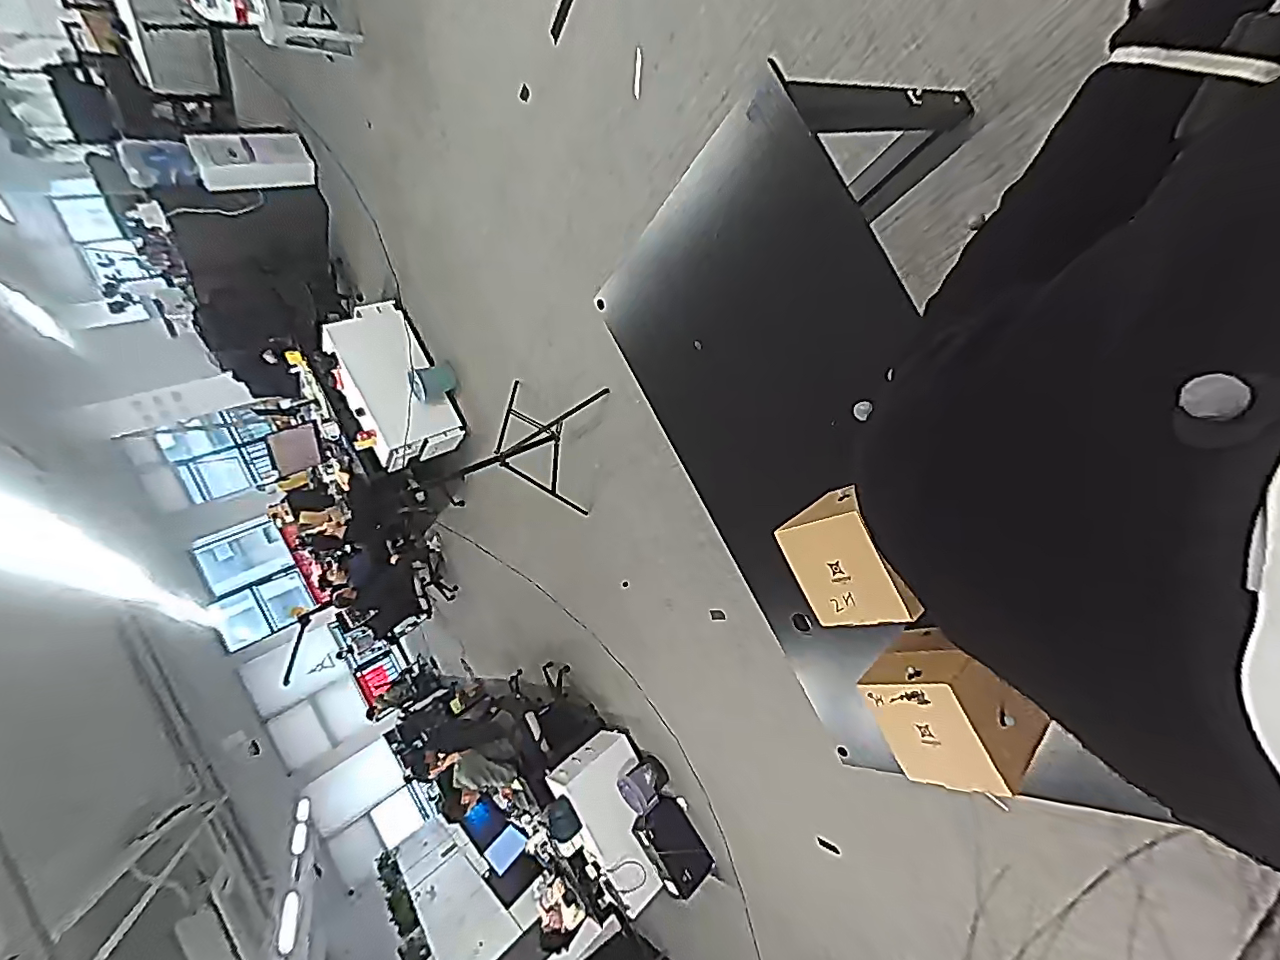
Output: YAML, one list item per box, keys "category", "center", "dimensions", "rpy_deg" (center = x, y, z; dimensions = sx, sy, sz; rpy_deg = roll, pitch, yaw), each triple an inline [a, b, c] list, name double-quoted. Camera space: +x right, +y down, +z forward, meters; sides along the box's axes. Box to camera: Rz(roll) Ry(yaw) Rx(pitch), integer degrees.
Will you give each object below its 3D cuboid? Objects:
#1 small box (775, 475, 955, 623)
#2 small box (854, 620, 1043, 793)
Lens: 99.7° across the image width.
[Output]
- category: "small box"
  center: [0.356, 0.105, 0.857]
  dimensions: [0.168, 0.176, 0.179]
  rpy_deg: [-28, 89, 57]
- category: "small box"
  center: [0.485, 0.345, 0.850]
  dimensions: [0.179, 0.176, 0.168]
  rpy_deg: [60, 146, 3]
